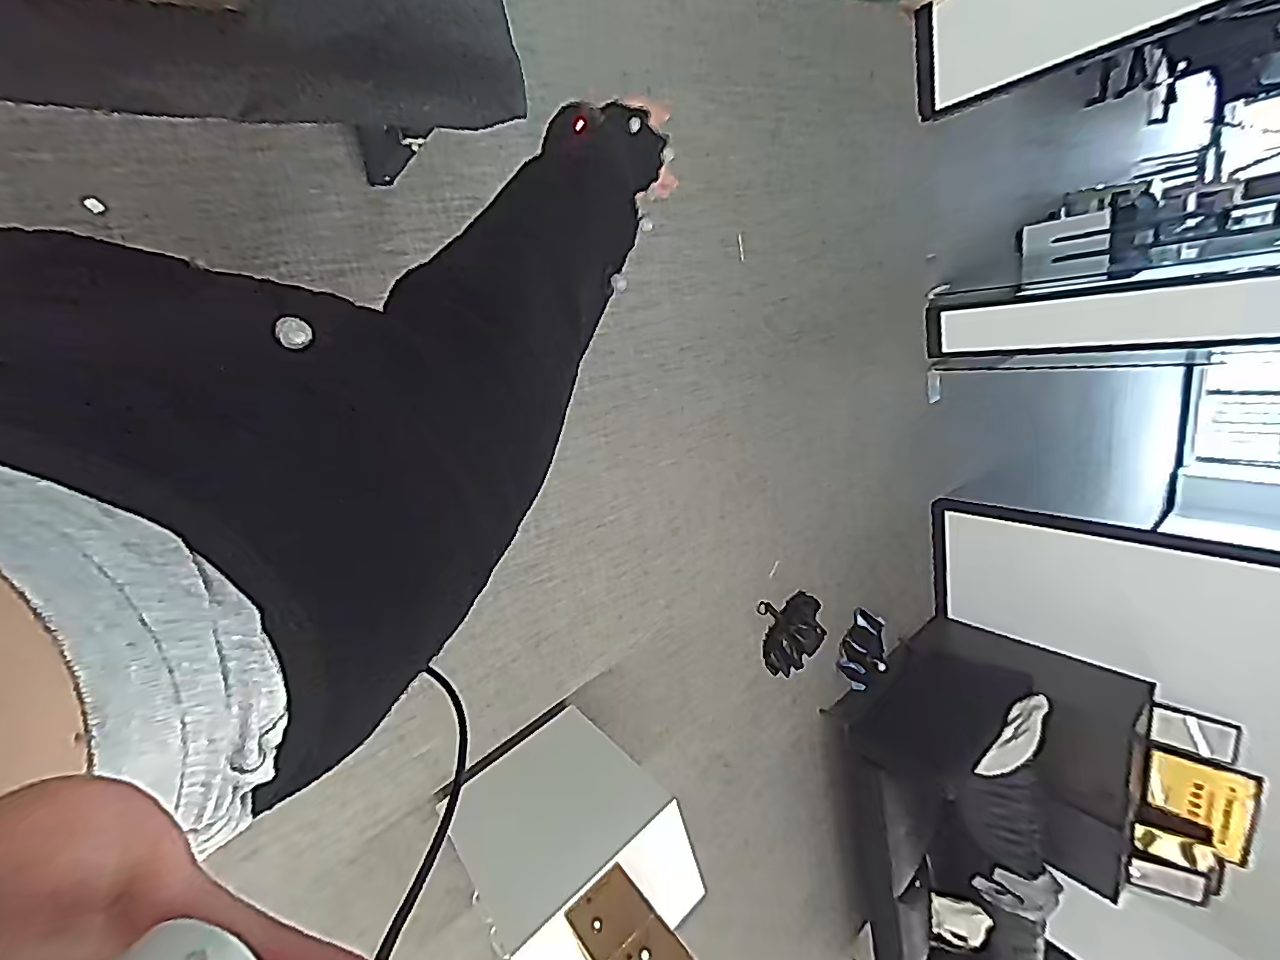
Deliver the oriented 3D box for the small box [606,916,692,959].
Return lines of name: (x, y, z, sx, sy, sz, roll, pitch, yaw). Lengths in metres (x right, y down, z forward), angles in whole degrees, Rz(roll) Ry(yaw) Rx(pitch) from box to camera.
small box: (0.040, 1.097, 1.152, 0.168, 0.176, 0.179, -28, 114, -30)

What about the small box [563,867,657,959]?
small box: (-0.059, 1.070, 1.280, 0.168, 0.176, 0.179, -29, 116, -30)
